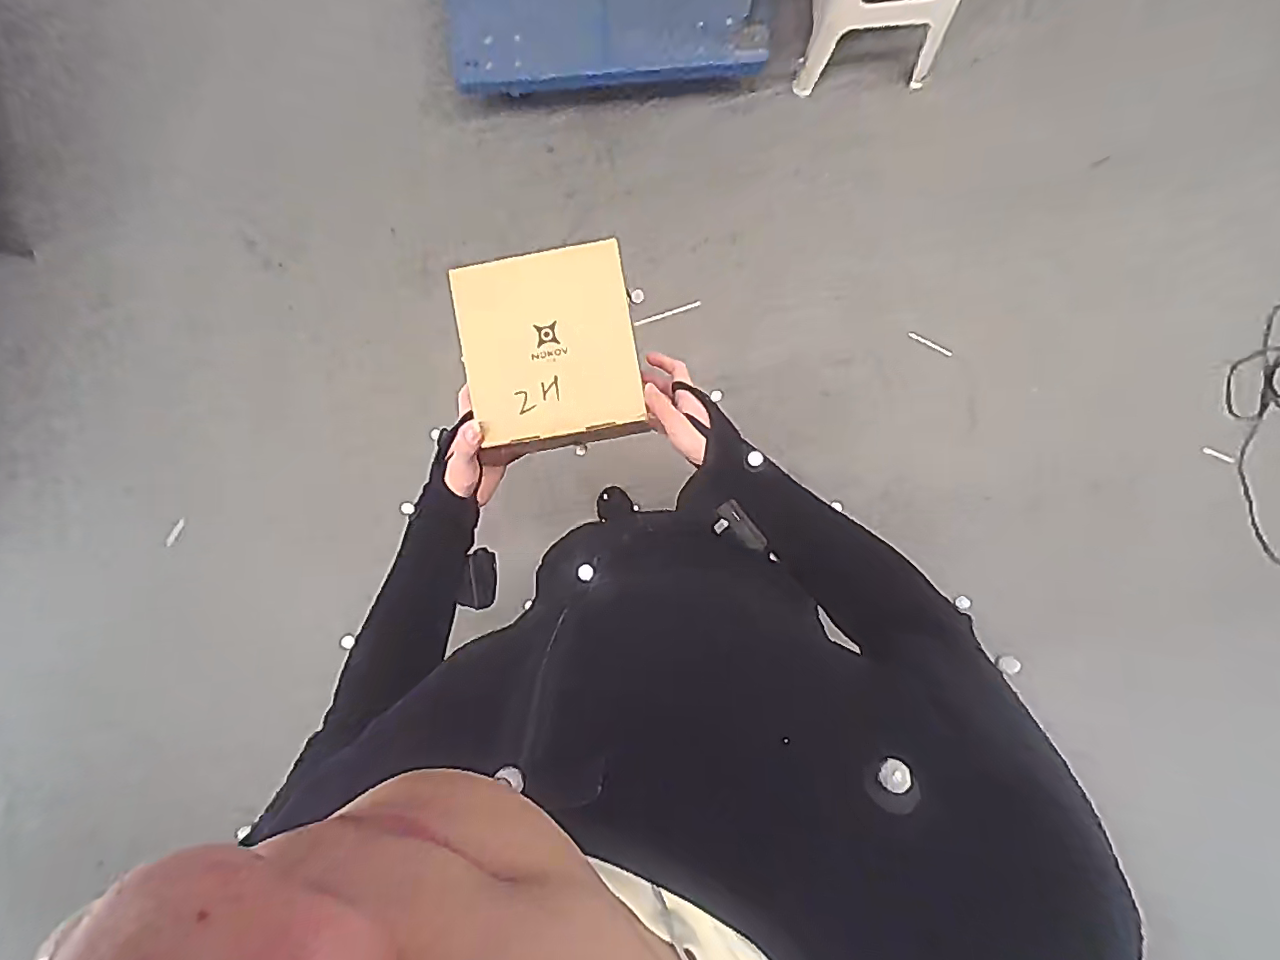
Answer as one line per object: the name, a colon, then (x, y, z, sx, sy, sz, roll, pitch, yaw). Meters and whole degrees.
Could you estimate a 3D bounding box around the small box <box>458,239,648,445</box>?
small box: (-0.084, -0.138, 0.603, 0.168, 0.176, 0.179, -8, 91, 3)
